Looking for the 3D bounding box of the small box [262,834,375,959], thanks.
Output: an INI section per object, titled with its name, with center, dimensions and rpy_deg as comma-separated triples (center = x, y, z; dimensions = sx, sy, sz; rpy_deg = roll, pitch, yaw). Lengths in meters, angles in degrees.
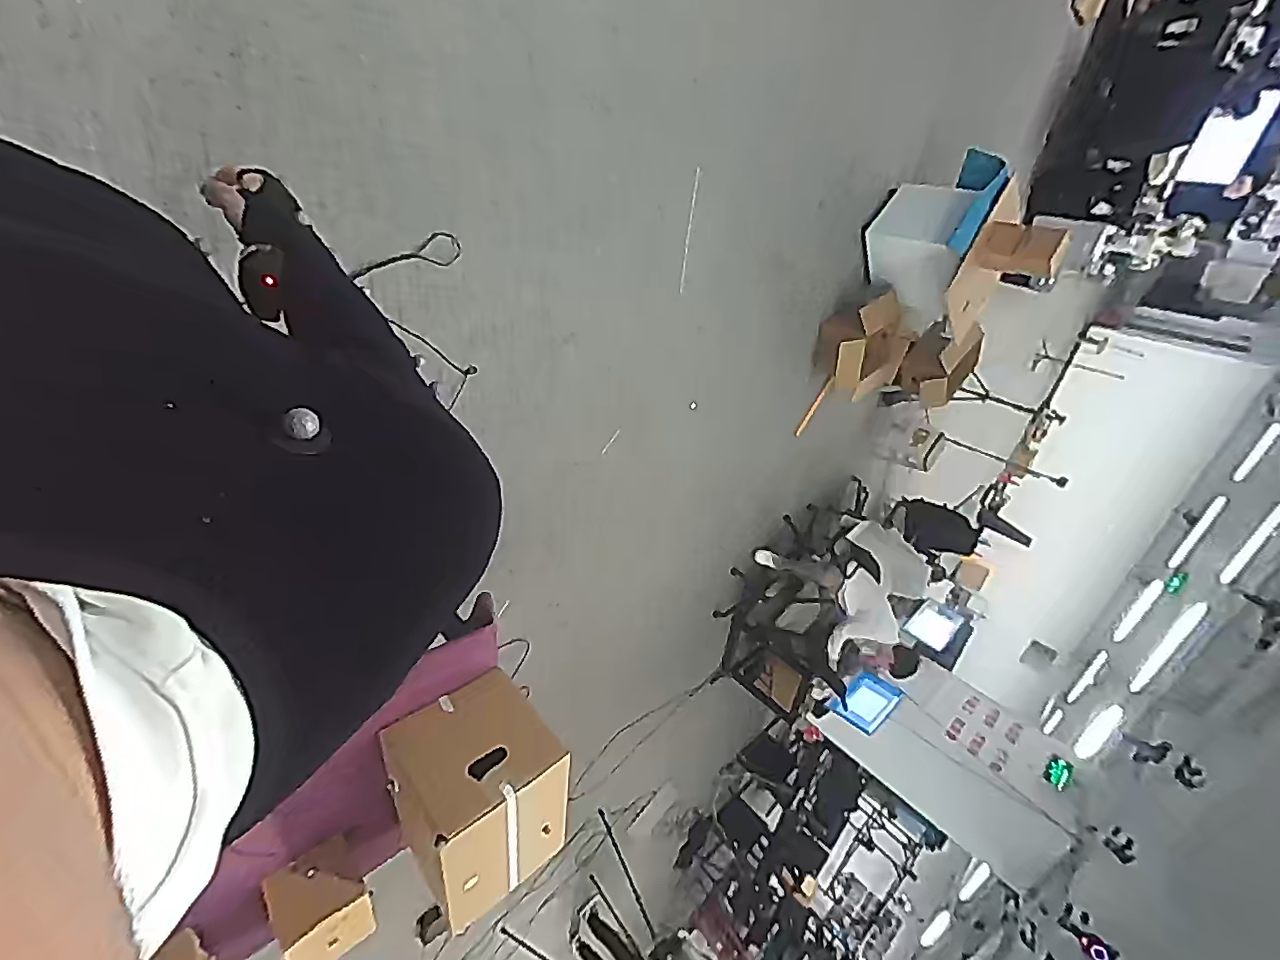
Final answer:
[small box]
center = -0.718, 0.949, 1.212
dimensions = 0.168, 0.176, 0.179
rpy_deg = -20, 130, -41
